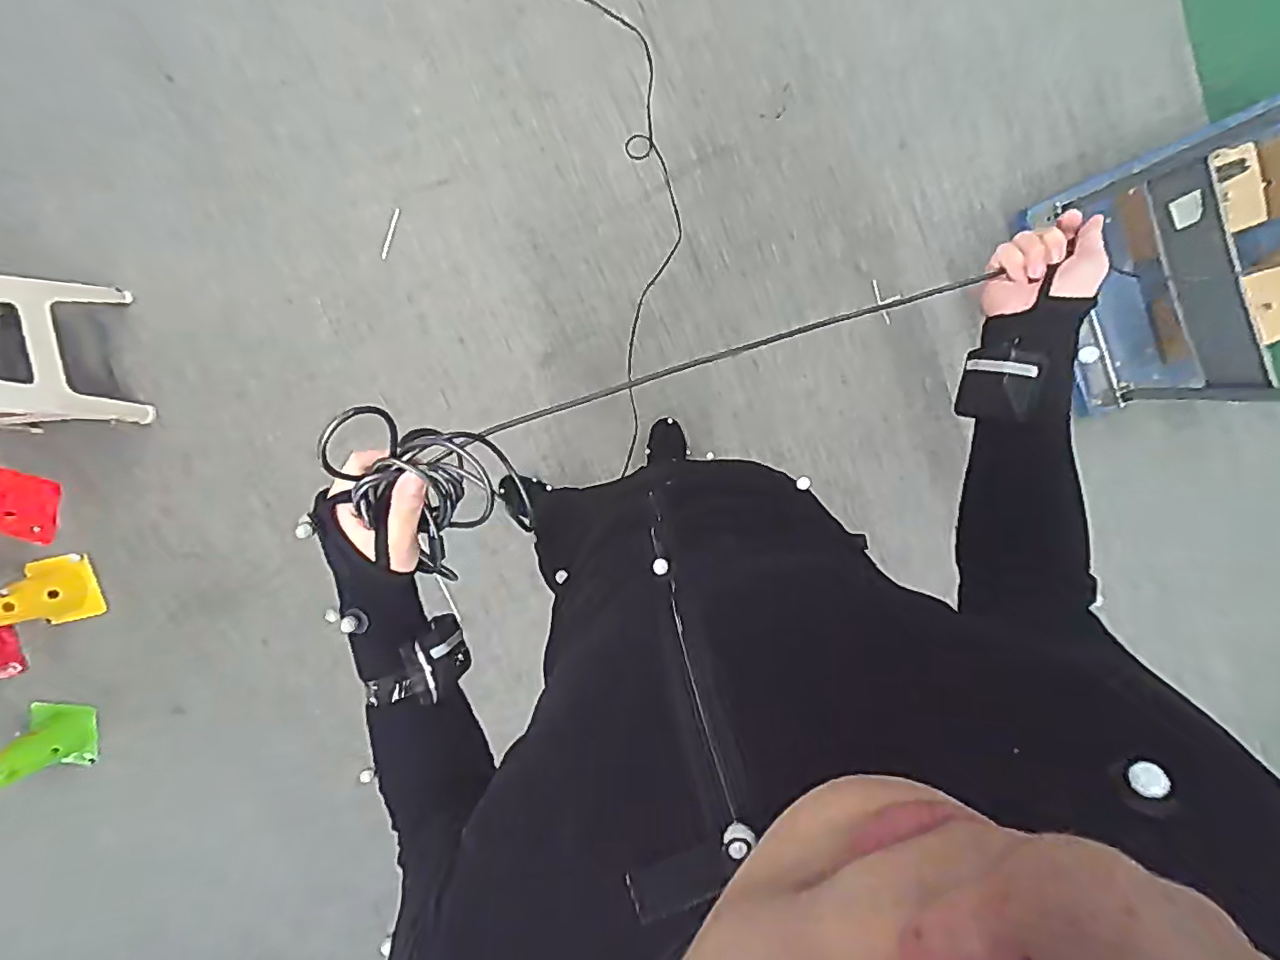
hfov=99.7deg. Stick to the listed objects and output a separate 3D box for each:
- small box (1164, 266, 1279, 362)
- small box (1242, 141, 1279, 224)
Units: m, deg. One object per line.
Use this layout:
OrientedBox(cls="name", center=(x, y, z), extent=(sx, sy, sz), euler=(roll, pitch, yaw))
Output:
OrientedBox(cls="small box", center=(1.413, -0.389, 1.273), extent=(0.179, 0.176, 0.168), euler=(-22, 96, 5))
OrientedBox(cls="small box", center=(1.543, -0.716, 1.228), extent=(0.179, 0.176, 0.168), euler=(-27, 97, 4))
